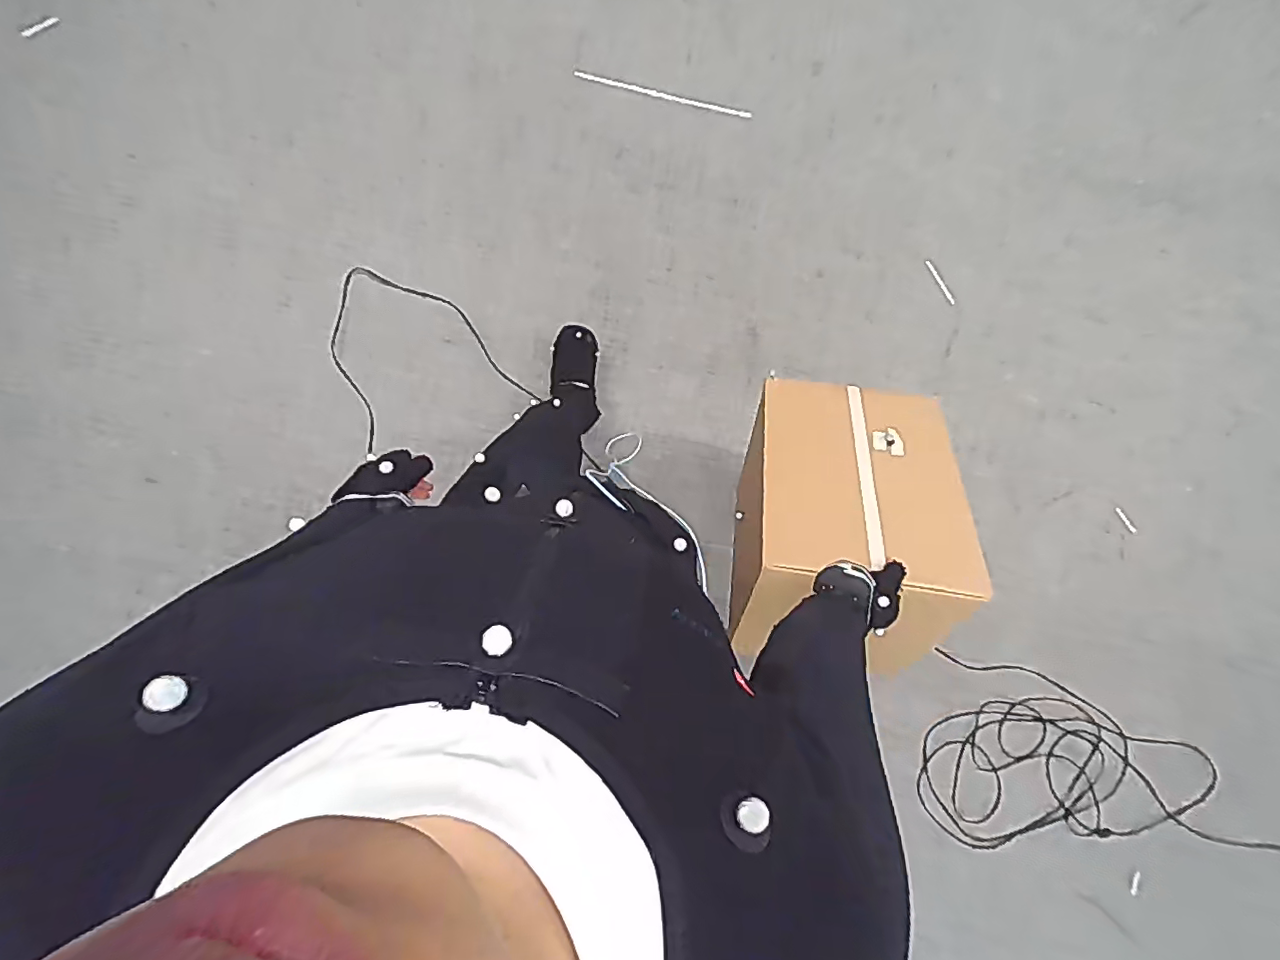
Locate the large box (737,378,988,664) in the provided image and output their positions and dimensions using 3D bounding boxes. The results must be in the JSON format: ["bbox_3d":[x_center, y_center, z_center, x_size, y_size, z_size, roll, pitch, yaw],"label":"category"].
[{"bbox_3d":[0.356,0.074,0.990,0.320,0.320,0.408,9,51,4],"label":"large box"}]
